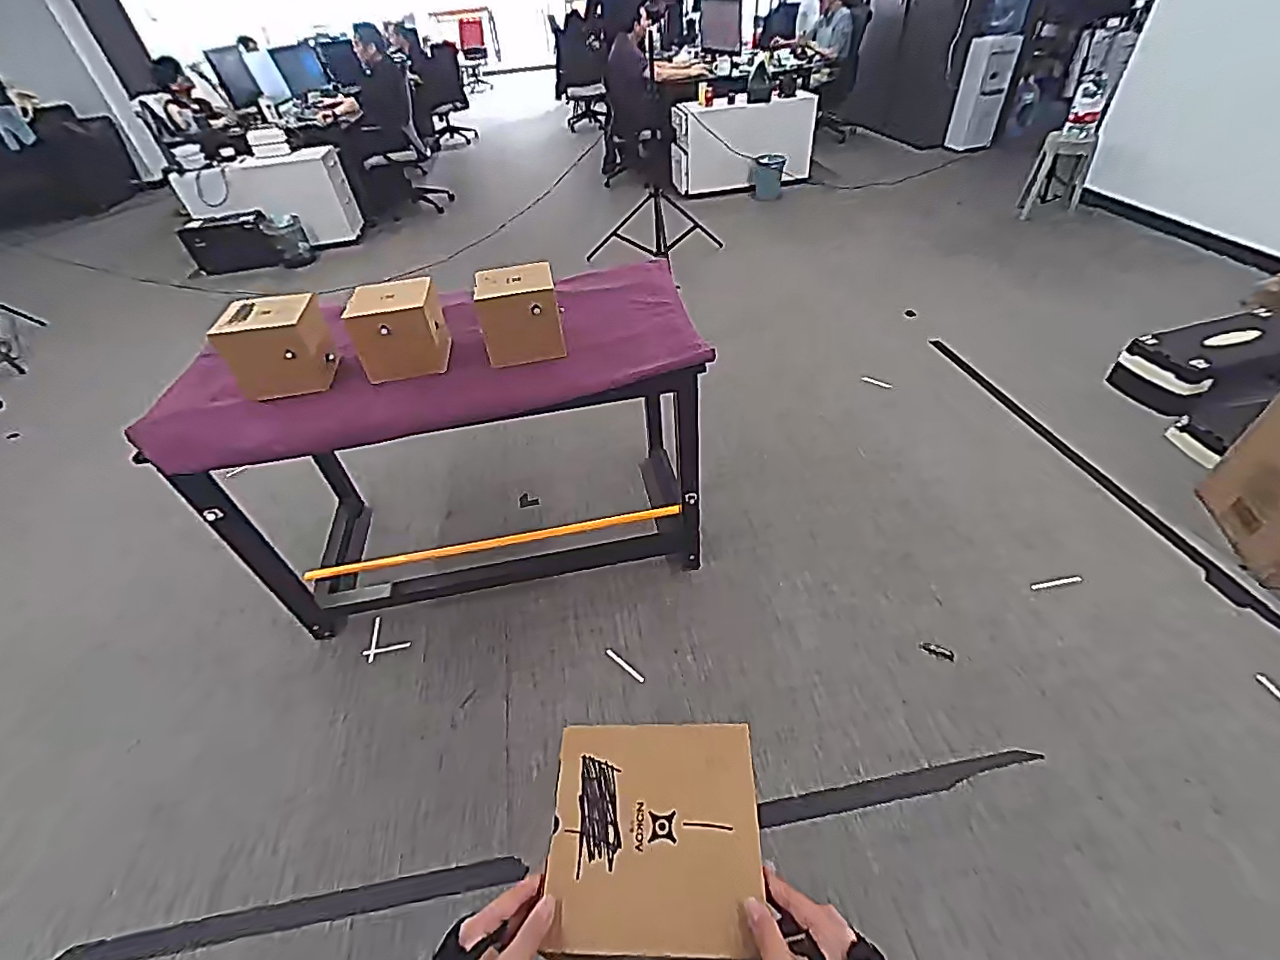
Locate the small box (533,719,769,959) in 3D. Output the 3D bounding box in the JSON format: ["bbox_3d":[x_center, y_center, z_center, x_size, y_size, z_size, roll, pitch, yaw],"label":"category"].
[{"bbox_3d":[0.020,0.339,0.499,0.179,0.176,0.168,-3,43,6],"label":"small box"}]

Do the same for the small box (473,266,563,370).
[{"bbox_3d":[-0.279,-0.377,1.265,0.179,0.176,0.168,-11,41,-5],"label":"small box"}]

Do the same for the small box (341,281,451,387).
[{"bbox_3d":[-0.555,-0.339,1.261,0.179,0.176,0.168,-11,43,-4],"label":"small box"}]
